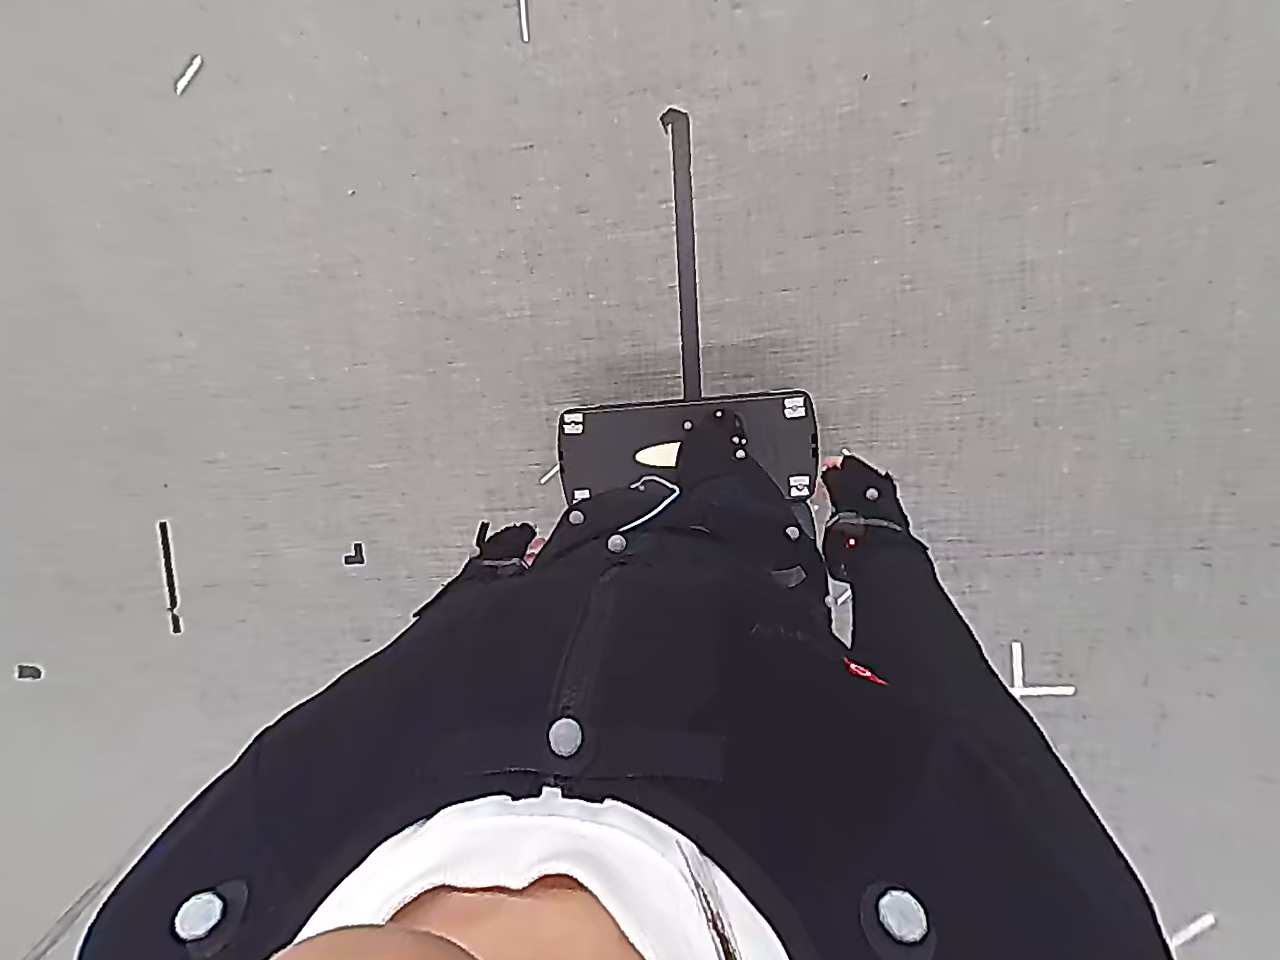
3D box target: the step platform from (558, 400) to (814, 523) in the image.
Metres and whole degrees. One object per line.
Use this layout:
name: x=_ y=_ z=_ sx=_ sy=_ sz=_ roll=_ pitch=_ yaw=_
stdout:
step platform: x=0.119 y=-0.048 z=1.480 sx=0.684 sy=0.204 sz=0.286 roll=-4 pitch=96 yaw=8
